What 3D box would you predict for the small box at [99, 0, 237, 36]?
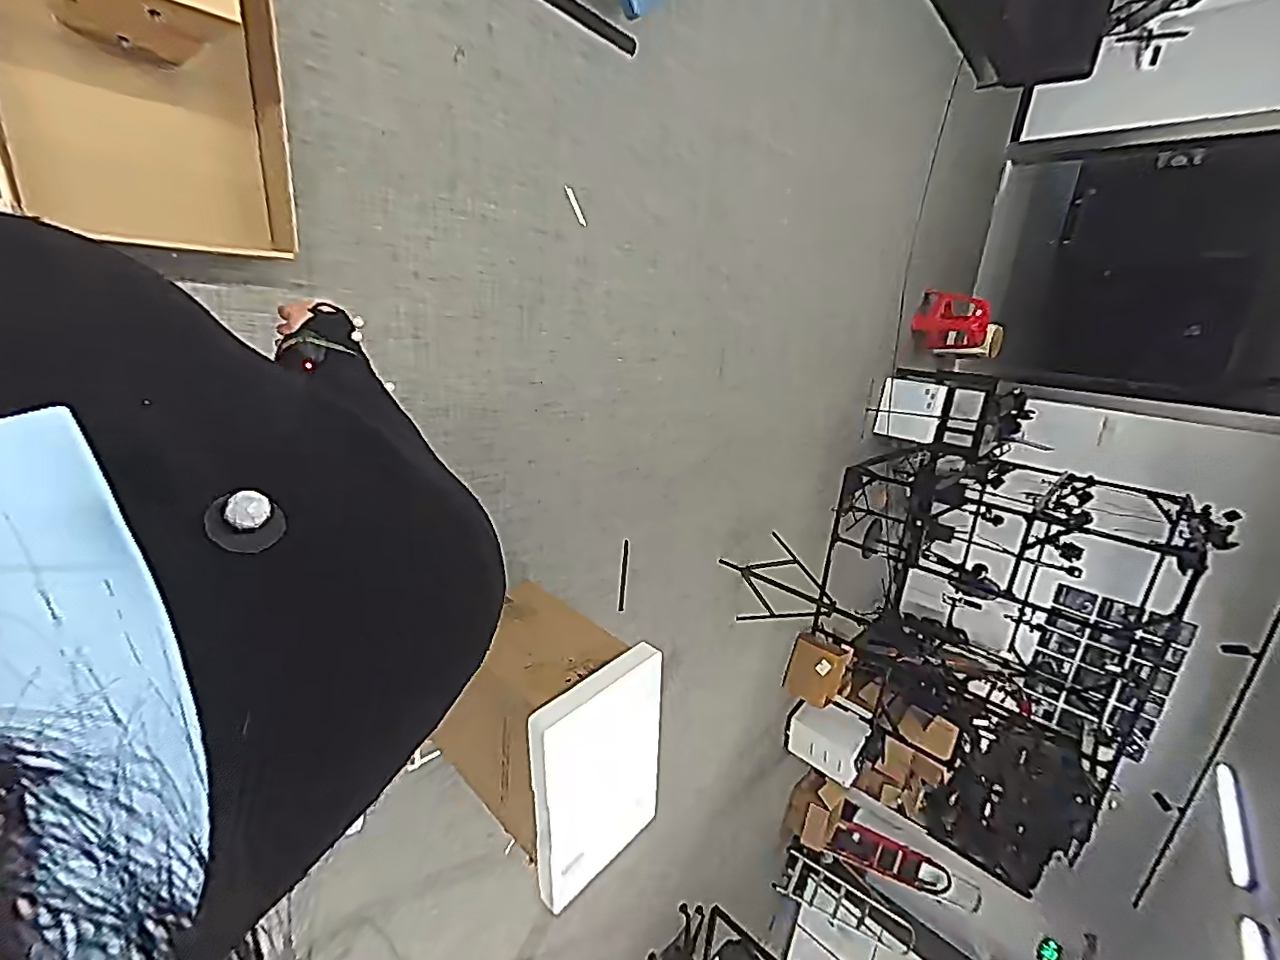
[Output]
[{"bbox_3d":[-0.709,-0.781,0.776,0.168,0.176,0.179,-16,119,-47],"label":"small box"}]
